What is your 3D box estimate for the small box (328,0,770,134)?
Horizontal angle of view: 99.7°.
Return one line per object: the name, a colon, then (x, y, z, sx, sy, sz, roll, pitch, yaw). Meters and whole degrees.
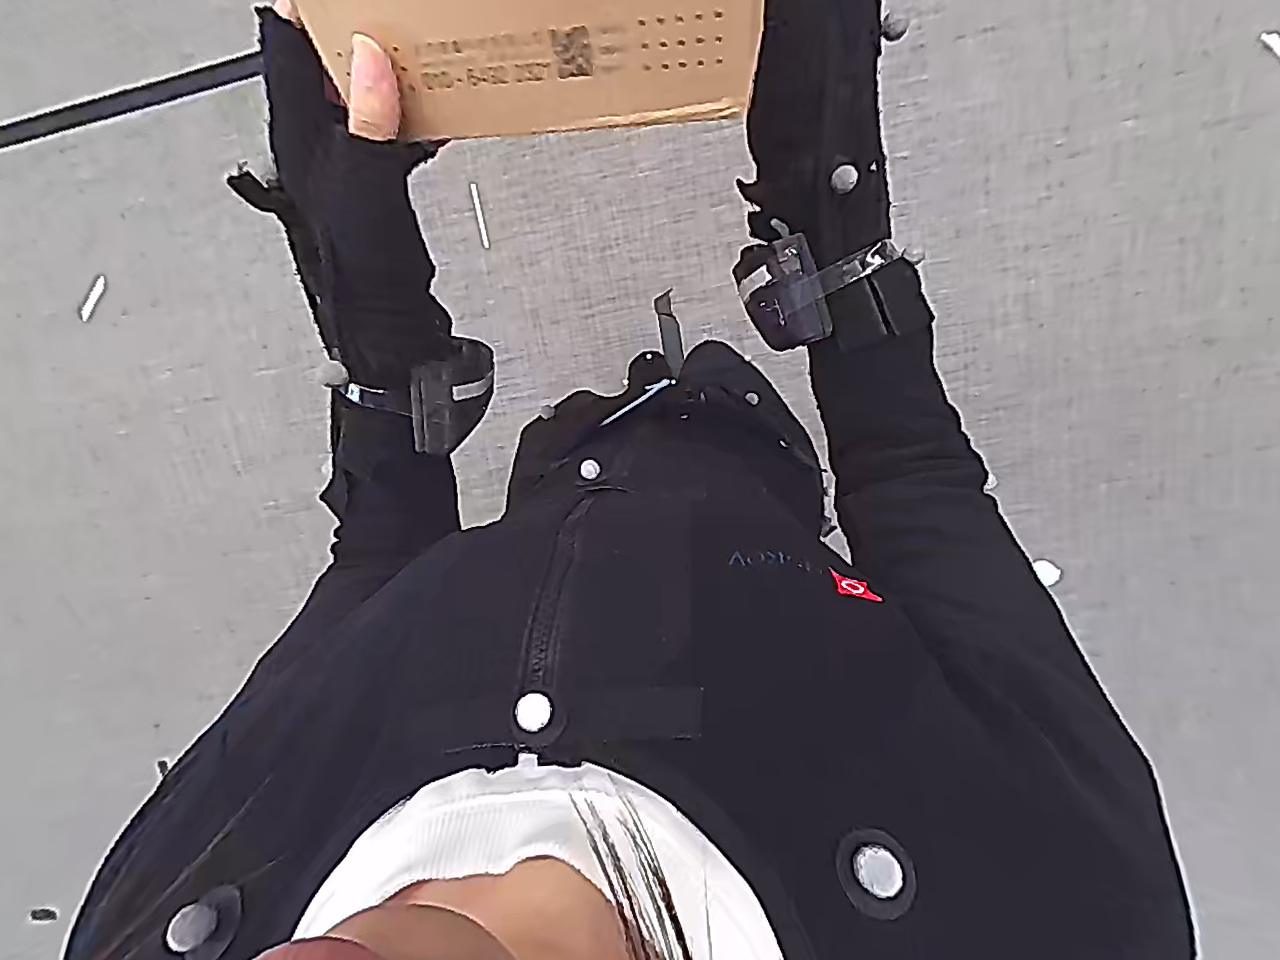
small box: (-0.035, -0.261, 0.213, 0.168, 0.179, 0.176, 7, 148, 15)
